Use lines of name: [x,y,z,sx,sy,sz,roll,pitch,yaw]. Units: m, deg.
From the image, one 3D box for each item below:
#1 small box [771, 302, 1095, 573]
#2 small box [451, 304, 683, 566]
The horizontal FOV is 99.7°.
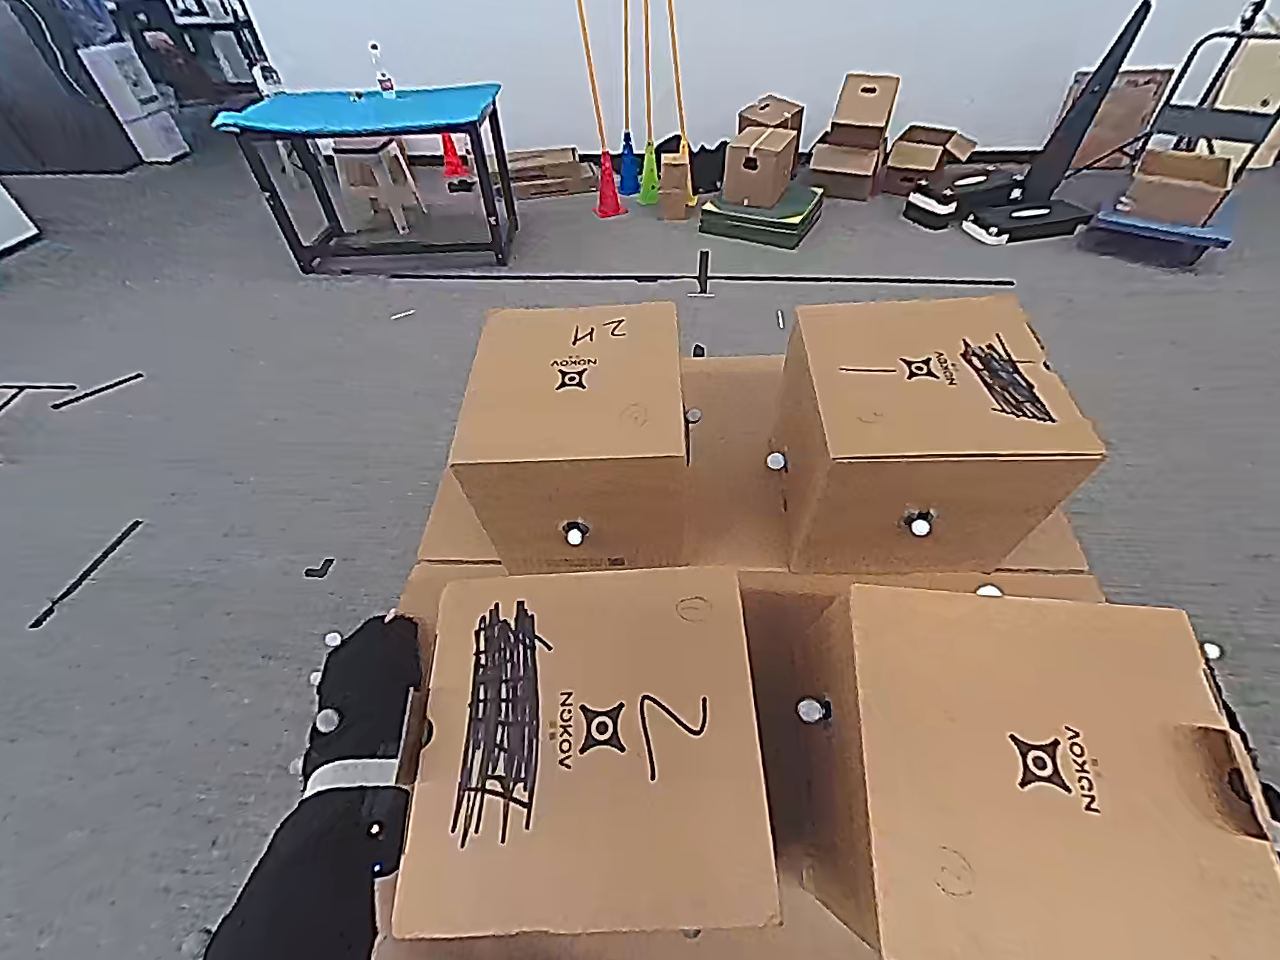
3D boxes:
small box: [0.216,-0.030,0.463,0.179,0.176,0.168,-1,54,5]
small box: [-0.045,-0.033,0.487,0.168,0.176,0.179,-1,53,4]
